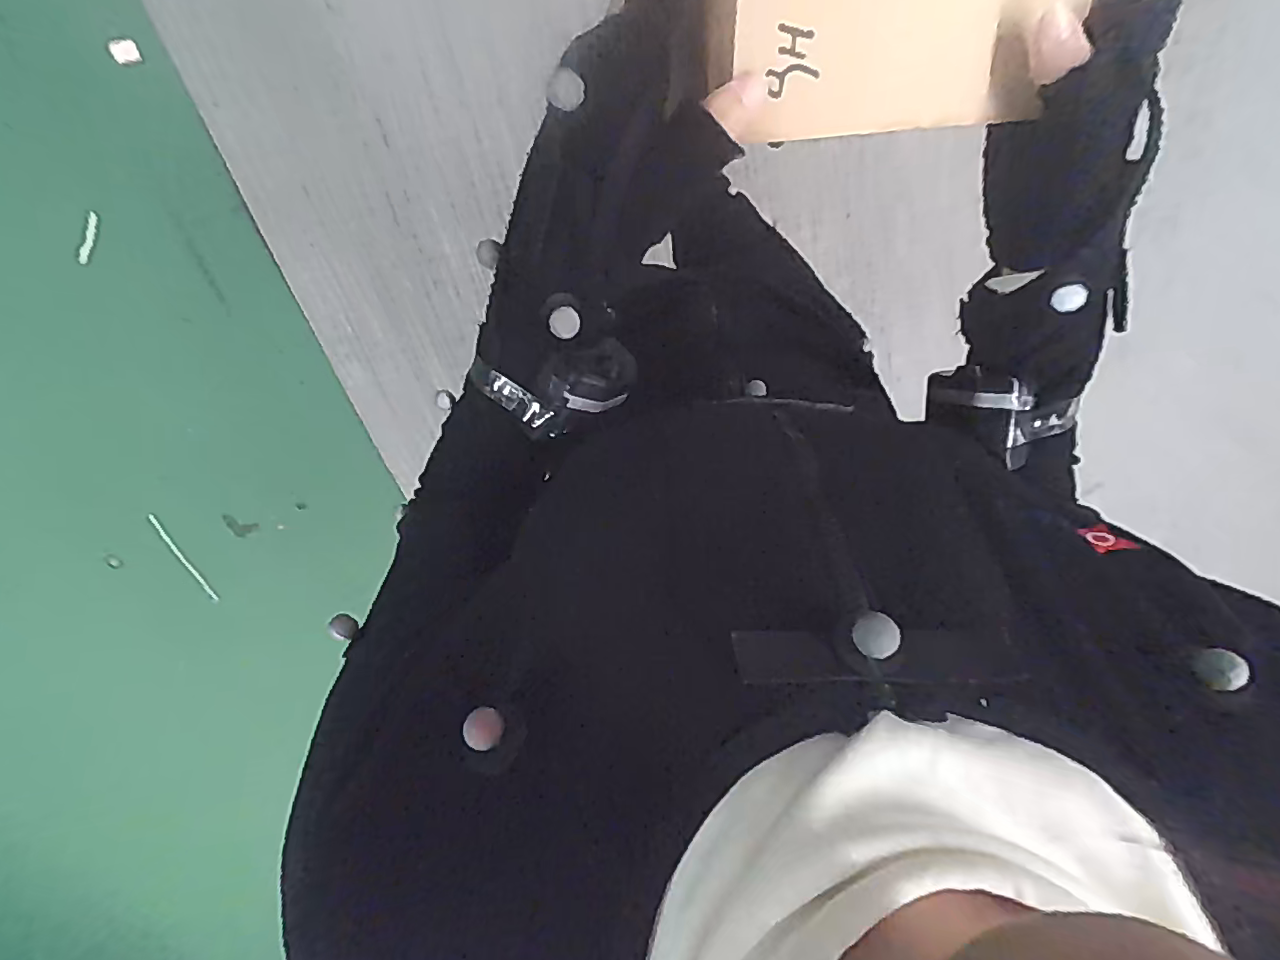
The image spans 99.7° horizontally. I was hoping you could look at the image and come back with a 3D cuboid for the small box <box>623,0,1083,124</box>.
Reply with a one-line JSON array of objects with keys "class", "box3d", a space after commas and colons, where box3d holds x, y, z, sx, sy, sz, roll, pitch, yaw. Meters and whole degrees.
[{"class": "small box", "box3d": [0.098, -0.281, 0.266, 0.179, 0.176, 0.168, -10, 128, -13]}]
